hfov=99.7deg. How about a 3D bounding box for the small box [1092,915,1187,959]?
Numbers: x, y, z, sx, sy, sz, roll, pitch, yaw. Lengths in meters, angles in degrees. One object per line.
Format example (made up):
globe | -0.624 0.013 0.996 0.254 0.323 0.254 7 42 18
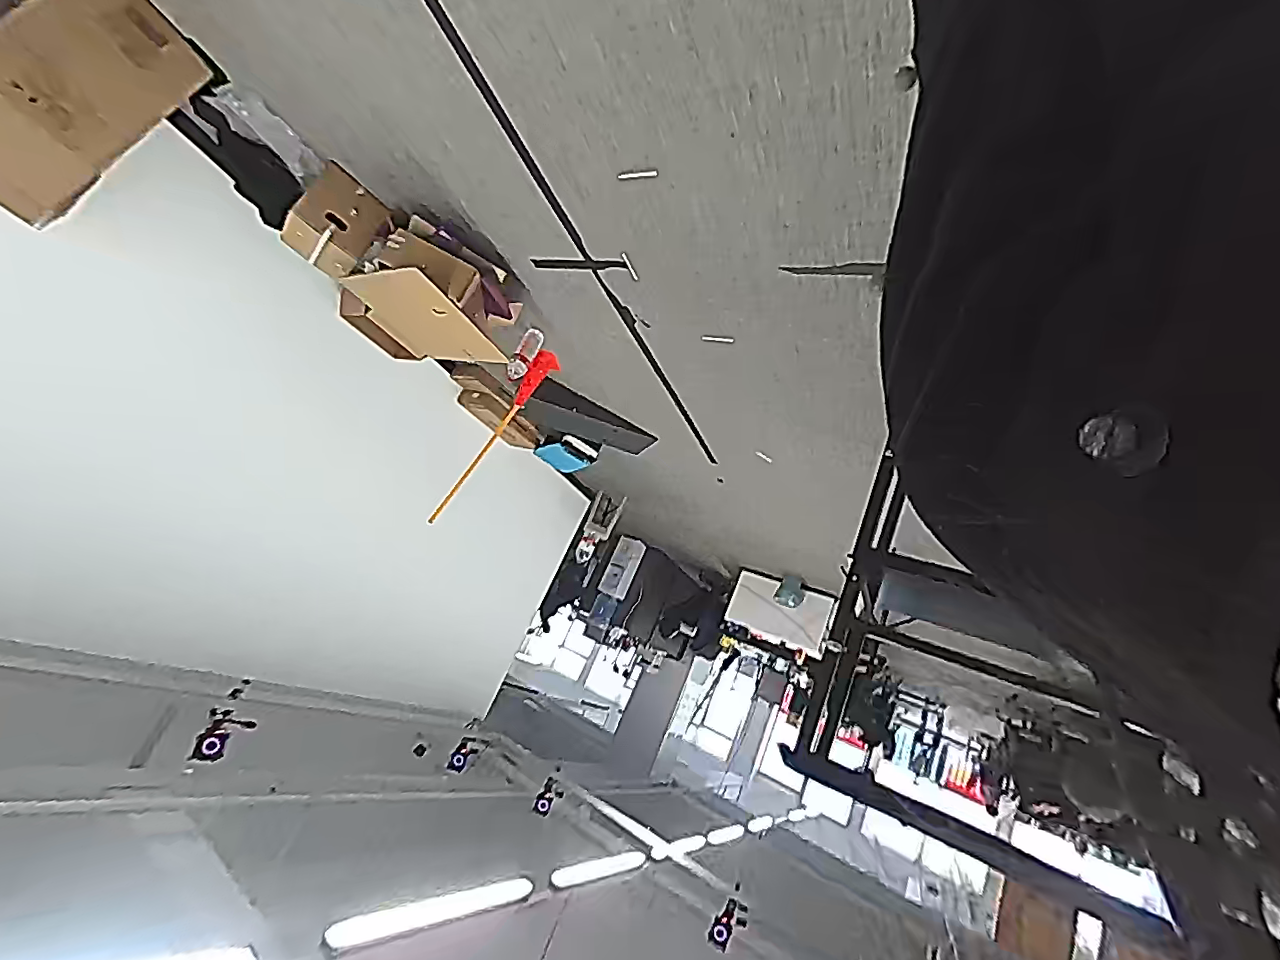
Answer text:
small box | 1.247 1.230 1.339 0.168 0.176 0.179 15 163 32

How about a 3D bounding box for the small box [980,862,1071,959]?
small box | 1.056 1.190 1.485 0.168 0.176 0.179 15 164 30
